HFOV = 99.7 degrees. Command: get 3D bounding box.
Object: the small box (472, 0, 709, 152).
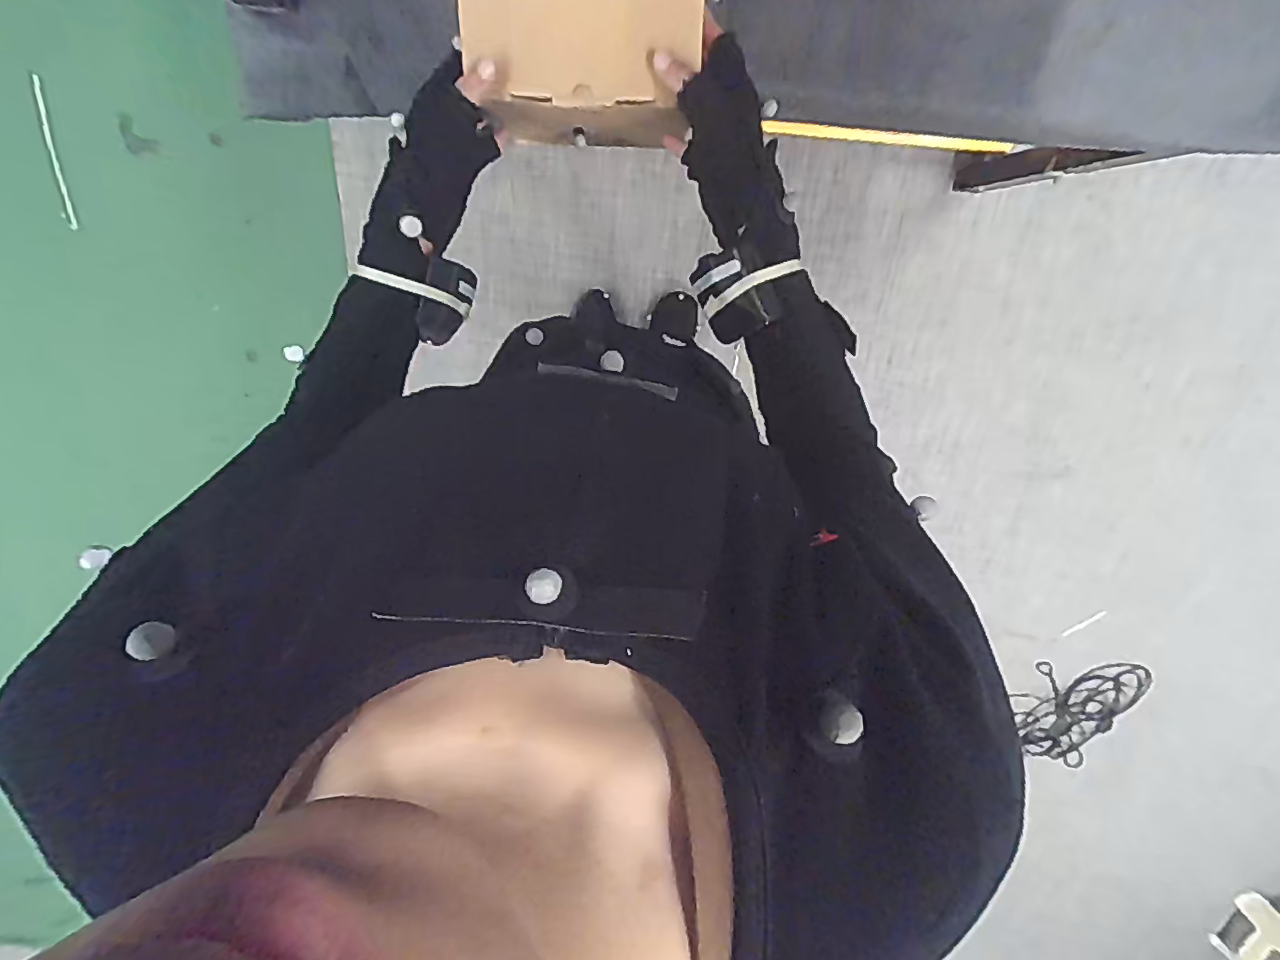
[{"bbox_3d":[-0.034,-0.384,0.436,0.168,0.176,0.179,2,112,0],"label":"small box"}]
